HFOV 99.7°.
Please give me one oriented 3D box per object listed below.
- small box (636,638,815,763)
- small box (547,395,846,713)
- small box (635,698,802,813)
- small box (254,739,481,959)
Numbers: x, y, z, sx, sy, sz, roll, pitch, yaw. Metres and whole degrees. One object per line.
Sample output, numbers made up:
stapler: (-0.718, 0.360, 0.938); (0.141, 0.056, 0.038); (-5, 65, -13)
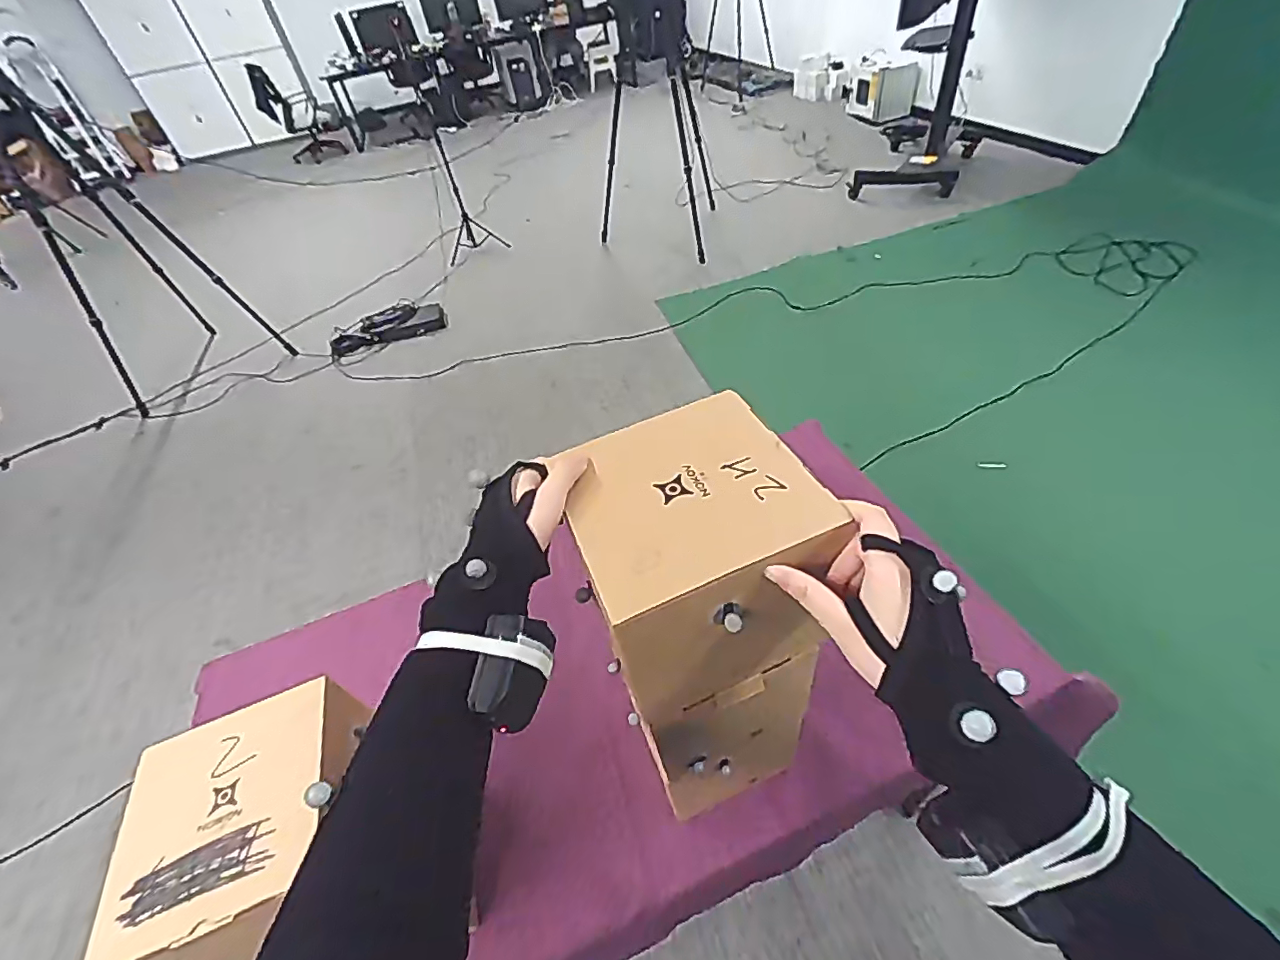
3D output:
small box: (0.063, 0.174, 0.575); (0.168, 0.176, 0.179); (-22, 47, -10)
small box: (0.043, 0.064, 0.453); (0.179, 0.176, 0.168); (-21, 48, -9)
small box: (0.085, 0.287, 0.693); (0.168, 0.176, 0.179); (-22, 46, -8)
small box: (-0.300, 0.440, 0.625); (0.168, 0.176, 0.179); (-21, 48, -8)
